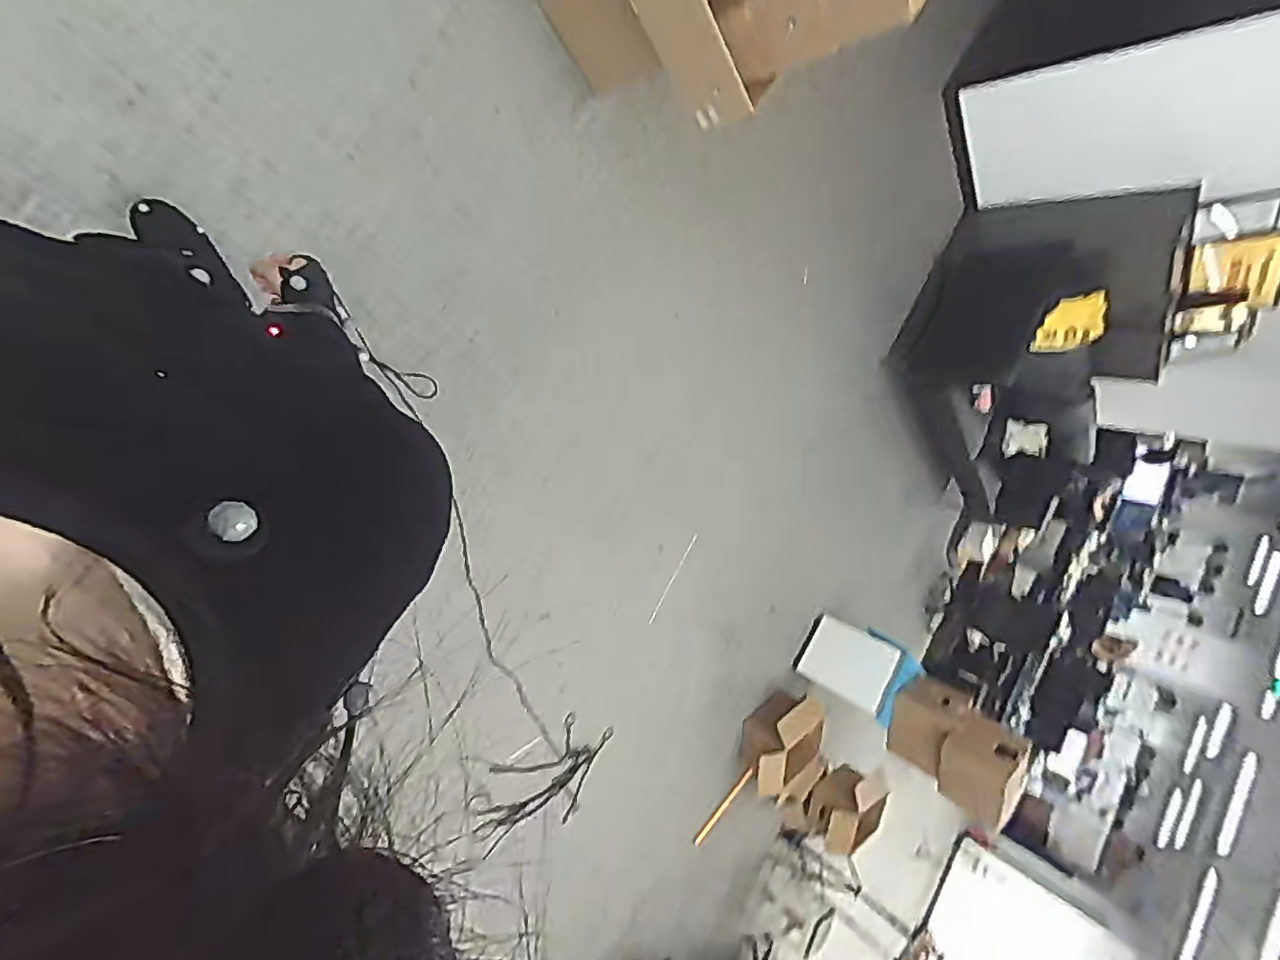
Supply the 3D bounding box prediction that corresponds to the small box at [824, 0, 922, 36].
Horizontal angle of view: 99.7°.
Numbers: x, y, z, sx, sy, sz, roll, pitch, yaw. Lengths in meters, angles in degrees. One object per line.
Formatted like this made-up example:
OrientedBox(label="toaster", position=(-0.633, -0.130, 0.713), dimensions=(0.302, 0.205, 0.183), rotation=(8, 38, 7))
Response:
OrientedBox(label="small box", position=(0.476, -1.036, 1.079), dimensions=(0.168, 0.176, 0.179), rotation=(-57, 133, -12))
